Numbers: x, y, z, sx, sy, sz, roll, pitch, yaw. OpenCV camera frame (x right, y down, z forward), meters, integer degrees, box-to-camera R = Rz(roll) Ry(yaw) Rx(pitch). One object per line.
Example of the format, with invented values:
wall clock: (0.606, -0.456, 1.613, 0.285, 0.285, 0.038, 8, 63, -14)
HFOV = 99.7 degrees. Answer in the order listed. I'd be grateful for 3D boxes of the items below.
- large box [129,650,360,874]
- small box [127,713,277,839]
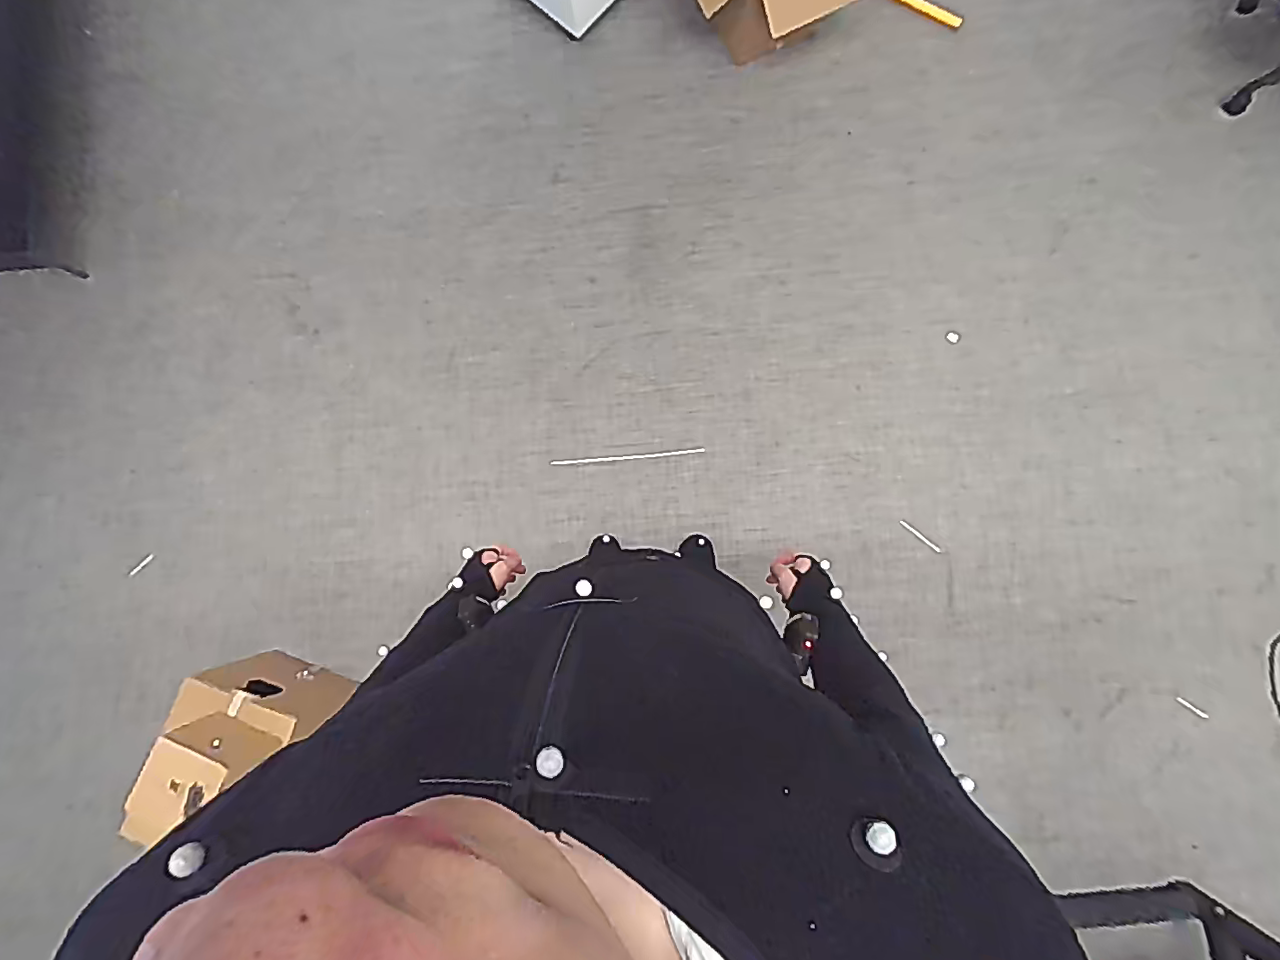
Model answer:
large box: (-1.045, 0.733, 1.478, 0.320, 0.320, 0.408, 19, 86, 4)
small box: (-0.986, 0.663, 1.236, 0.179, 0.176, 0.168, 23, 85, 2)
